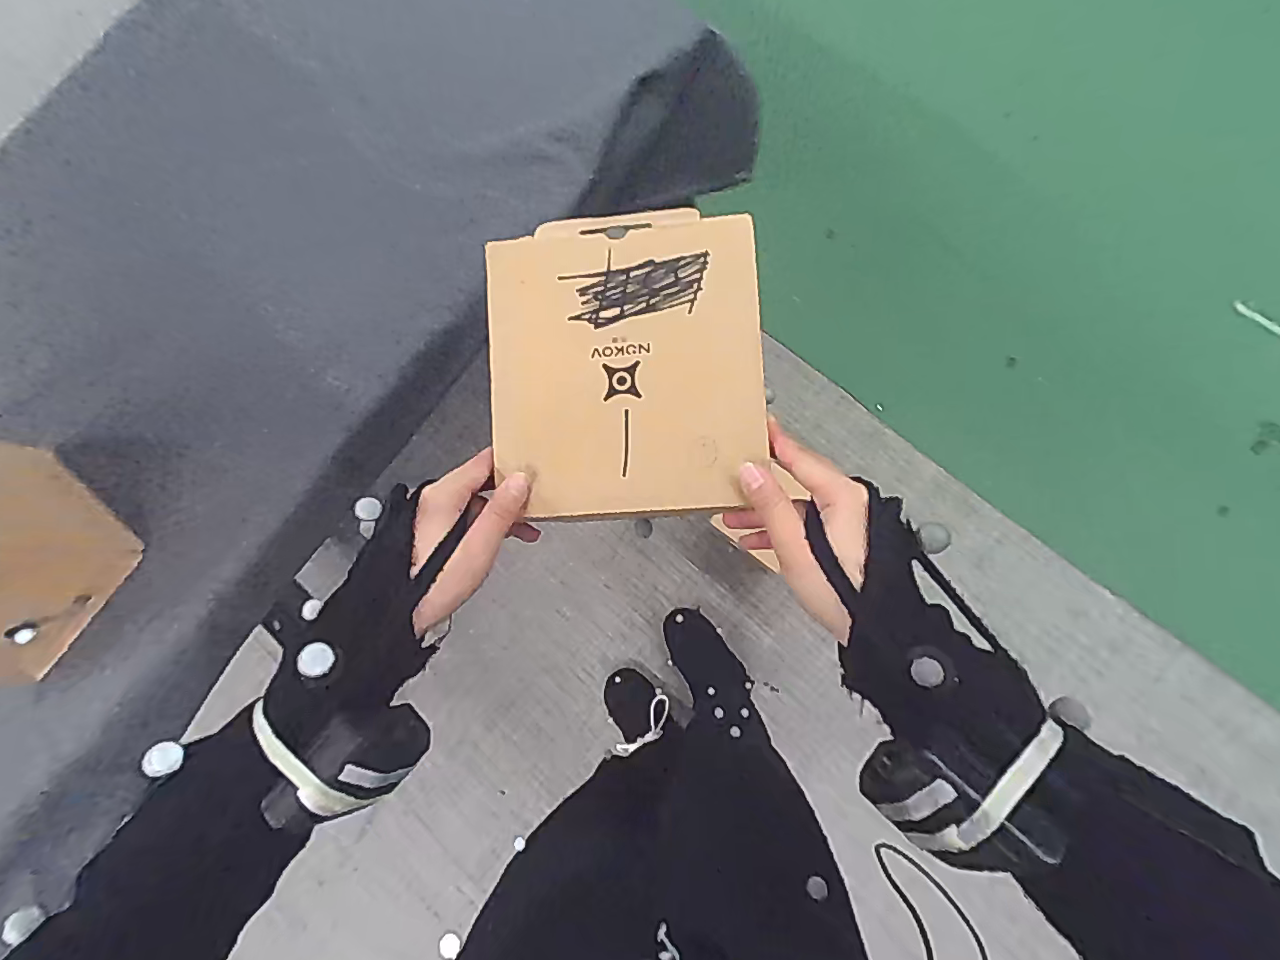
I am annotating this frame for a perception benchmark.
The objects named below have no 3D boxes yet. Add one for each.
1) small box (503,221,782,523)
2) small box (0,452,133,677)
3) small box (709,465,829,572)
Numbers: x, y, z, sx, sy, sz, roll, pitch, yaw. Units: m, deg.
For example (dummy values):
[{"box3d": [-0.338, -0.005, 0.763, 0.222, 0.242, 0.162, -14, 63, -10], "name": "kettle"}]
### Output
[{"box3d": [0.007, -0.059, 0.401, 0.168, 0.176, 0.179, -3, 85, 7], "name": "small box"}, {"box3d": [-0.627, 0.073, 0.475, 0.179, 0.176, 0.168, 37, 87, 10], "name": "small box"}, {"box3d": [0.255, 0.071, 1.112, 0.168, 0.176, 0.179, 36, 88, 11], "name": "small box"}]
